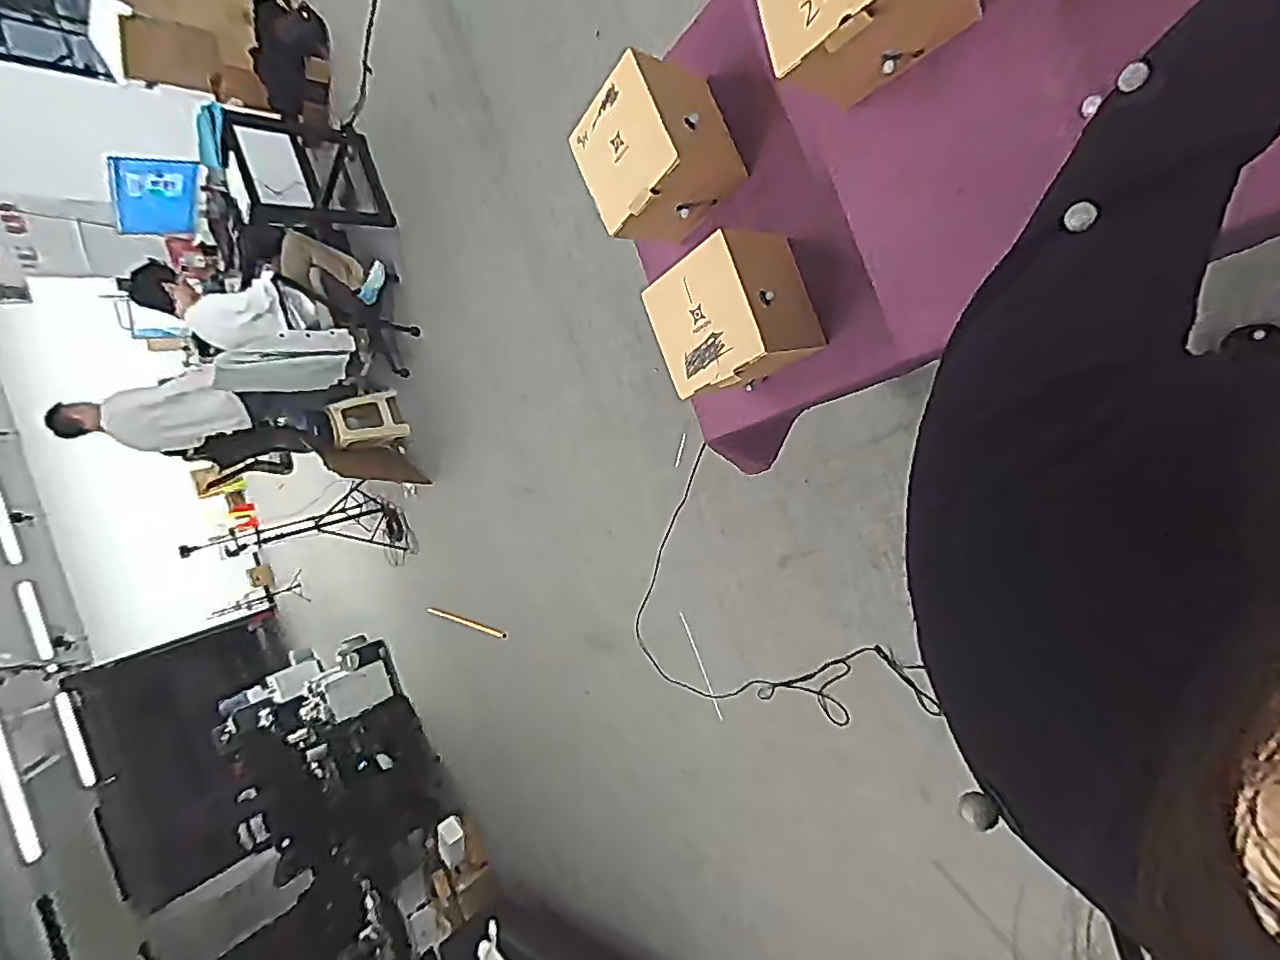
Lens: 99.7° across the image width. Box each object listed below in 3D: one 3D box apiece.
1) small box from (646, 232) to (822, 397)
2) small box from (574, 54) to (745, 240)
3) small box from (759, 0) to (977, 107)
[{"bbox_3d":[0.143,-0.243,0.811,0.168,0.176,0.179,-23,85,47],"label":"small box"},{"bbox_3d":[0.034,-0.498,0.838,0.168,0.176,0.179,-27,85,47],"label":"small box"},{"bbox_3d":[0.245,-0.559,0.596,0.168,0.176,0.179,-10,96,48],"label":"small box"}]
